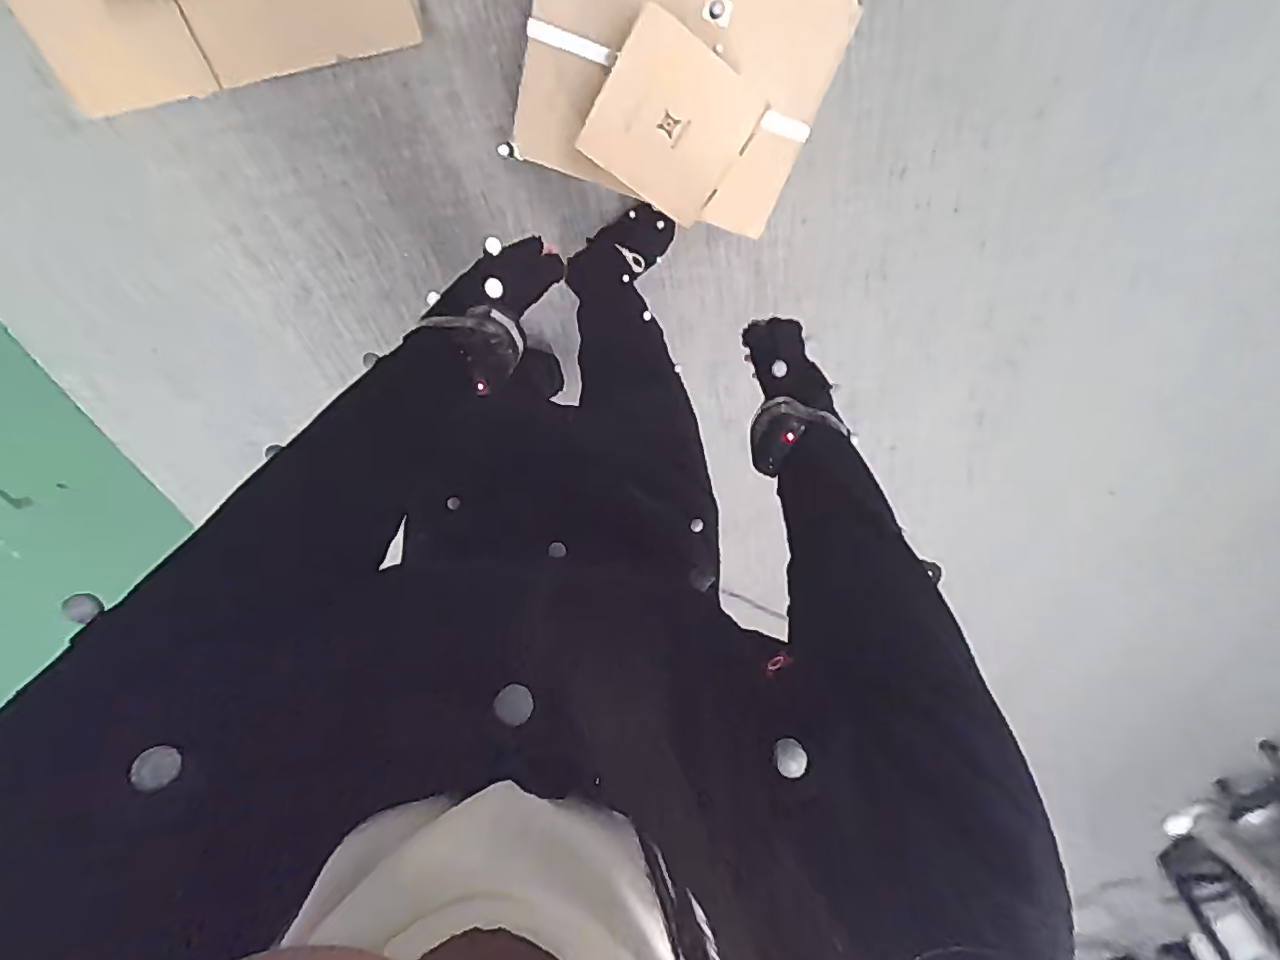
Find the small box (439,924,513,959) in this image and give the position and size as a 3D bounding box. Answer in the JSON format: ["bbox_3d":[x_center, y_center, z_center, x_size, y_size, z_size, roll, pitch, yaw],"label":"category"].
[{"bbox_3d":[-0.507,1.478,1.646,0.168,0.176,0.179,-11,125,10],"label":"small box"}]

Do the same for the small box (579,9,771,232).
[{"bbox_3d":[0.043,-0.466,0.711,0.179,0.176,0.168,28,122,-17],"label":"small box"}]
